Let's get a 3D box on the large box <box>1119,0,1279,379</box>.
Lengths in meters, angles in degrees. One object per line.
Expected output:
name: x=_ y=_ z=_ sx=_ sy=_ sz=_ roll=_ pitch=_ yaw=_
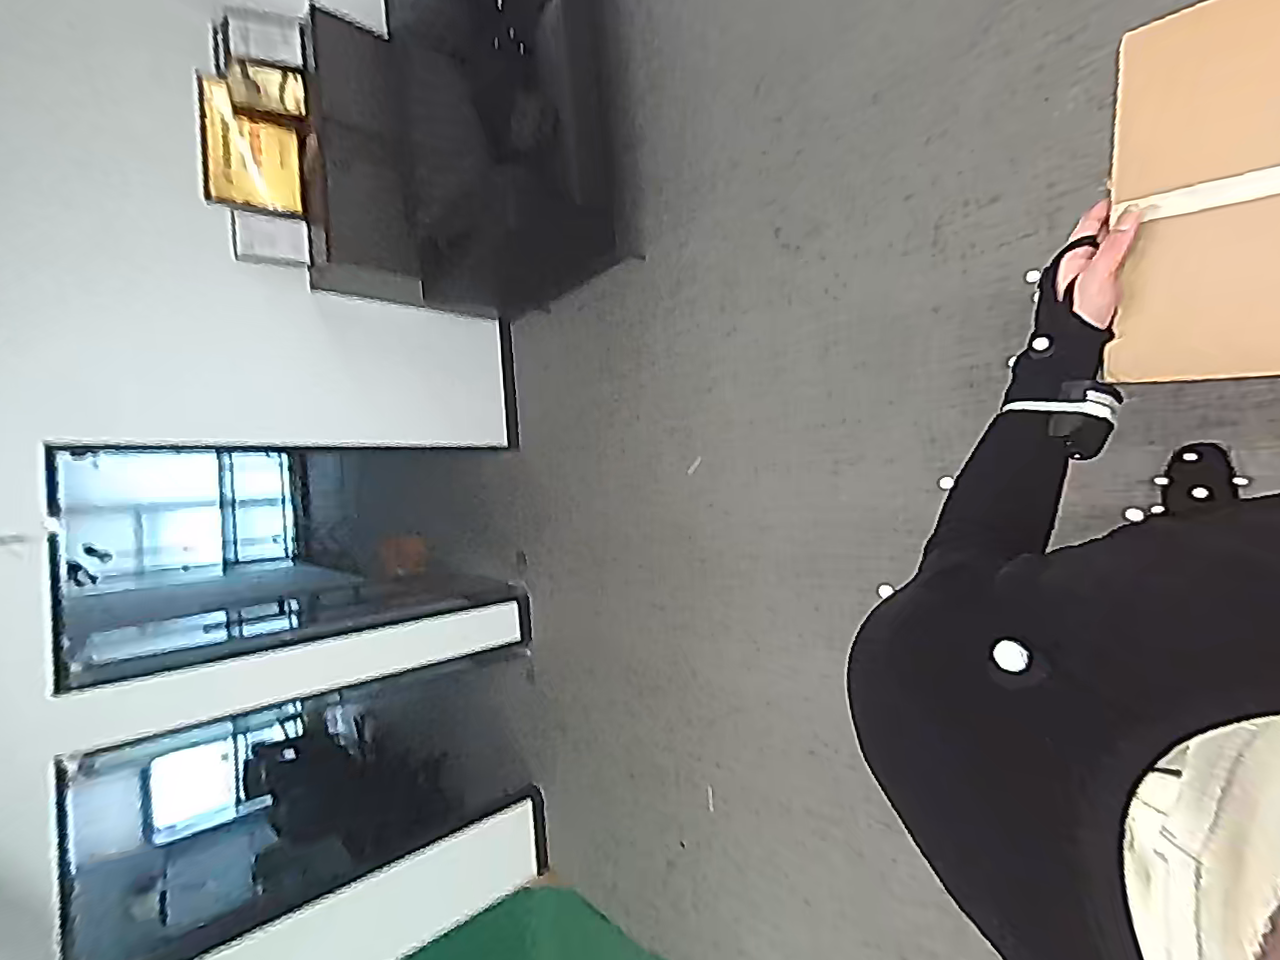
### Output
large box: x=0.703 y=-0.263 z=0.475 sx=0.408 sy=0.320 sz=0.320 roll=4 pitch=101 yaw=46
